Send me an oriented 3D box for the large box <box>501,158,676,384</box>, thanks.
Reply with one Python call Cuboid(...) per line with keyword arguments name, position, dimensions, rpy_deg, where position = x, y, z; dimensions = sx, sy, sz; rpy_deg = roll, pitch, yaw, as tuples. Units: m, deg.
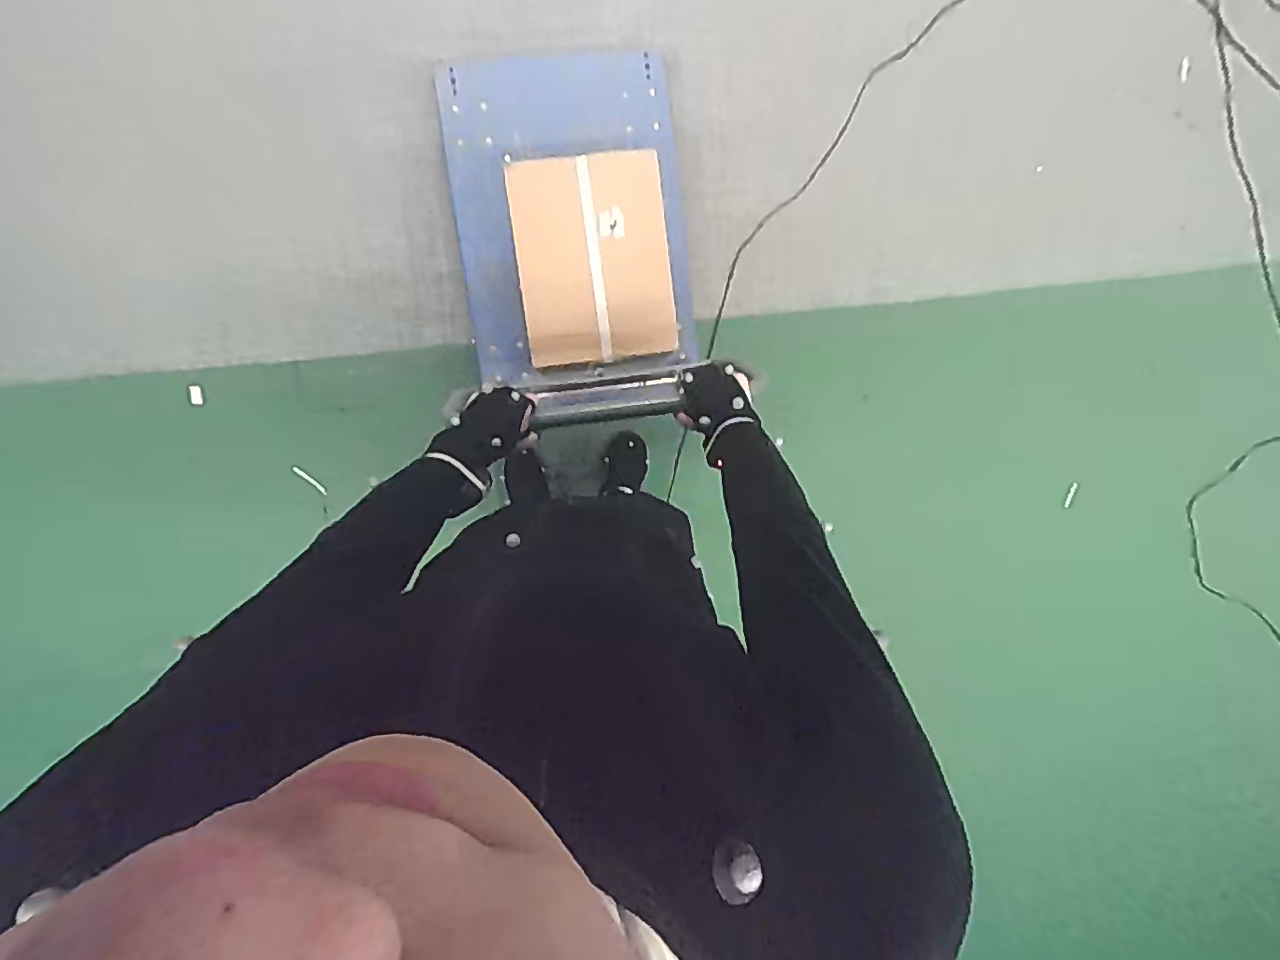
Cuboid(name="large box", position=(-0.115, -0.457, 1.266), dimensions=(0.320, 0.320, 0.408), rpy_deg=(-9, 96, -6))
